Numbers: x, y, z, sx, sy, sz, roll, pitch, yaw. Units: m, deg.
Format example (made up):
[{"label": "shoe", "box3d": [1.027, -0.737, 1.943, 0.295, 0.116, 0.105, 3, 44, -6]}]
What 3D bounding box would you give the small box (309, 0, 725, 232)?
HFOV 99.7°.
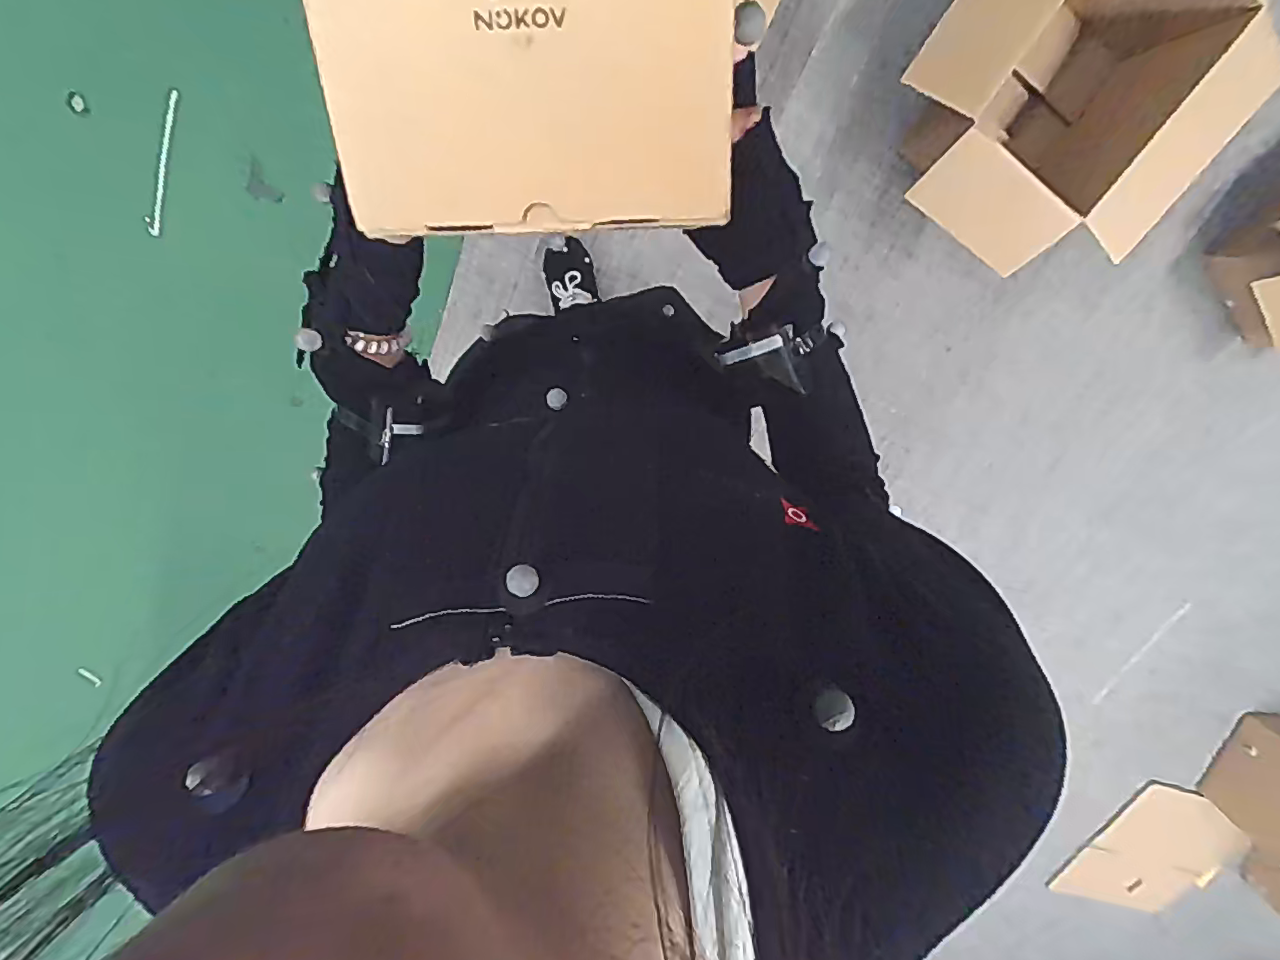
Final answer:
[{"label": "small box", "box3d": [-0.048, -0.228, 0.281, 0.168, 0.176, 0.179, -1, 117, 2]}]
